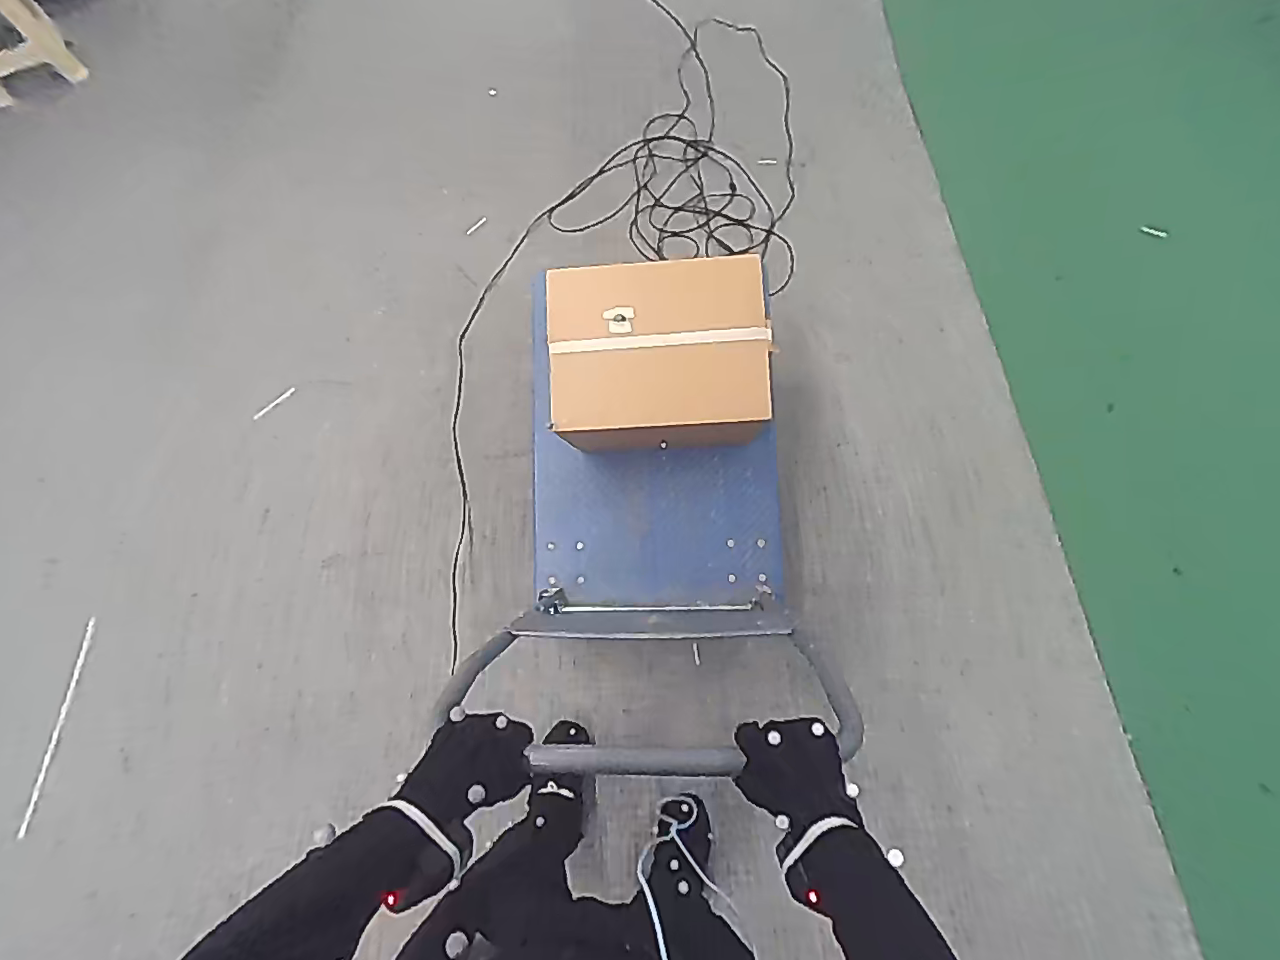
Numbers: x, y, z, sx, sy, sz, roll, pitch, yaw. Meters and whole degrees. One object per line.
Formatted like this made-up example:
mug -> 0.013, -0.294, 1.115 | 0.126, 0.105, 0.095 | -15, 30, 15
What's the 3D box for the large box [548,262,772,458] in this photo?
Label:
large box -> 0.047, -0.225, 1.145 | 0.408, 0.320, 0.320 | -3, 84, 5
